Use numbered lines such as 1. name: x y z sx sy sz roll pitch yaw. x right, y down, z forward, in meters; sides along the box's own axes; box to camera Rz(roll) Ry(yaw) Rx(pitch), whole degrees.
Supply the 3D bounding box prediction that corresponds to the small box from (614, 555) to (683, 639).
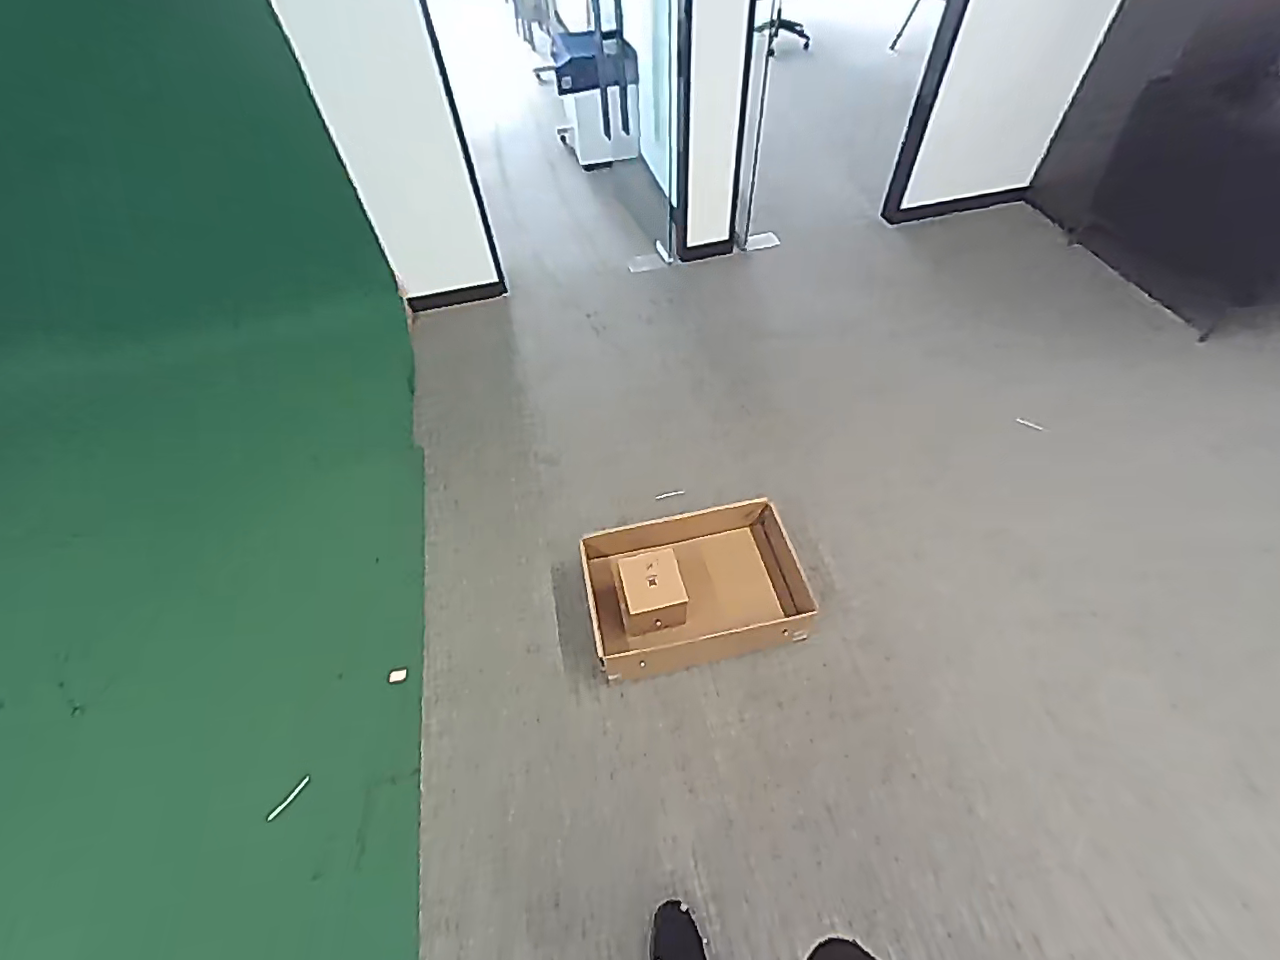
1. small box: 0.024 0.346 1.571 0.168 0.176 0.179 -11 53 -7
